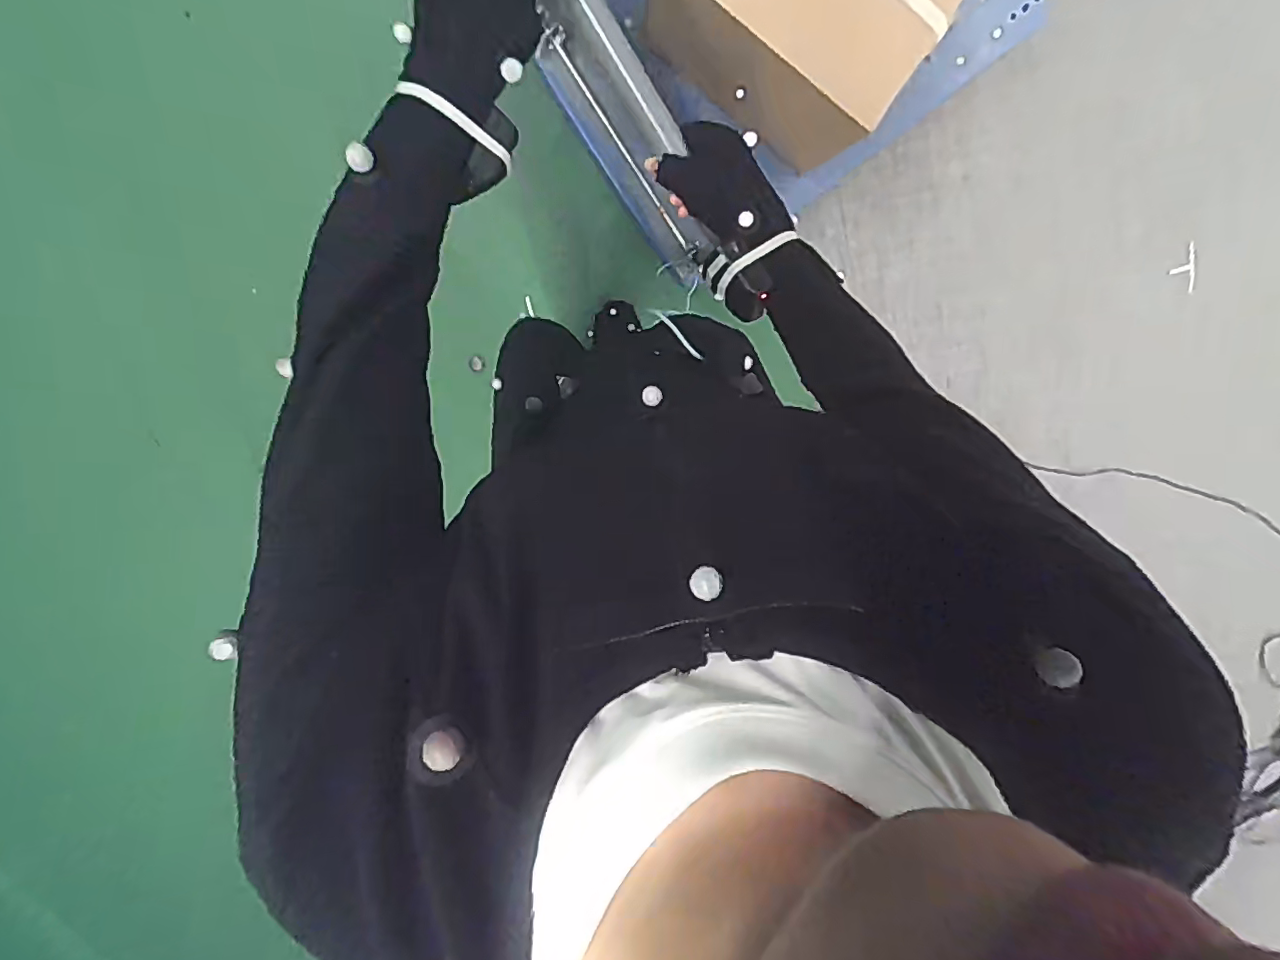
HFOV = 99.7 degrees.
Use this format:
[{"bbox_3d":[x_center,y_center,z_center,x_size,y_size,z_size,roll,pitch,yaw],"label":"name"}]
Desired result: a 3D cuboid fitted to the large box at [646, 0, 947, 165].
[{"bbox_3d":[0.257,-0.810,0.897,0.408,0.320,0.320,31,105,-11],"label":"large box"}]
